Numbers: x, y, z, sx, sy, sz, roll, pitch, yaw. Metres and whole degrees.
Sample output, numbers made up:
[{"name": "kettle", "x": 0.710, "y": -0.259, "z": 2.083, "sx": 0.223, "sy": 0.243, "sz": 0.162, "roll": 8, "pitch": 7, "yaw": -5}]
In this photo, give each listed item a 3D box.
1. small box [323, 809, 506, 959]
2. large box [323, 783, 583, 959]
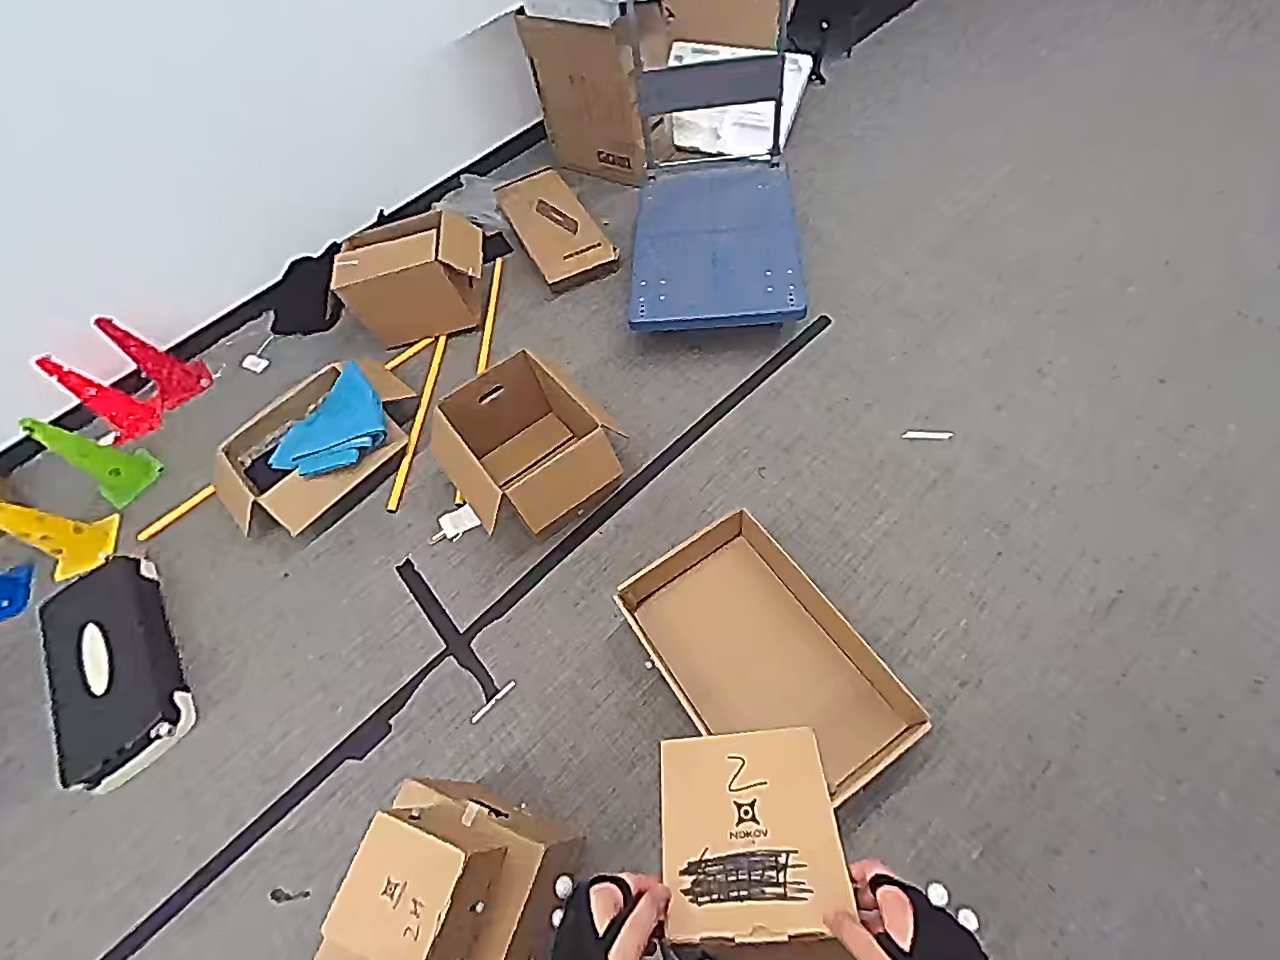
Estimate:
[{"name": "small box", "x": -0.347, "y": 0.649, "z": 0.866, "sx": 0.179, "sy": 0.176, "sz": 0.168, "roll": 13, "pitch": 64, "yaw": 16}, {"name": "large box", "x": -0.346, "y": 0.849, "z": 1.036, "sx": 0.320, "sy": 0.320, "sz": 0.408, "roll": 13, "pitch": 63, "yaw": 18}]
